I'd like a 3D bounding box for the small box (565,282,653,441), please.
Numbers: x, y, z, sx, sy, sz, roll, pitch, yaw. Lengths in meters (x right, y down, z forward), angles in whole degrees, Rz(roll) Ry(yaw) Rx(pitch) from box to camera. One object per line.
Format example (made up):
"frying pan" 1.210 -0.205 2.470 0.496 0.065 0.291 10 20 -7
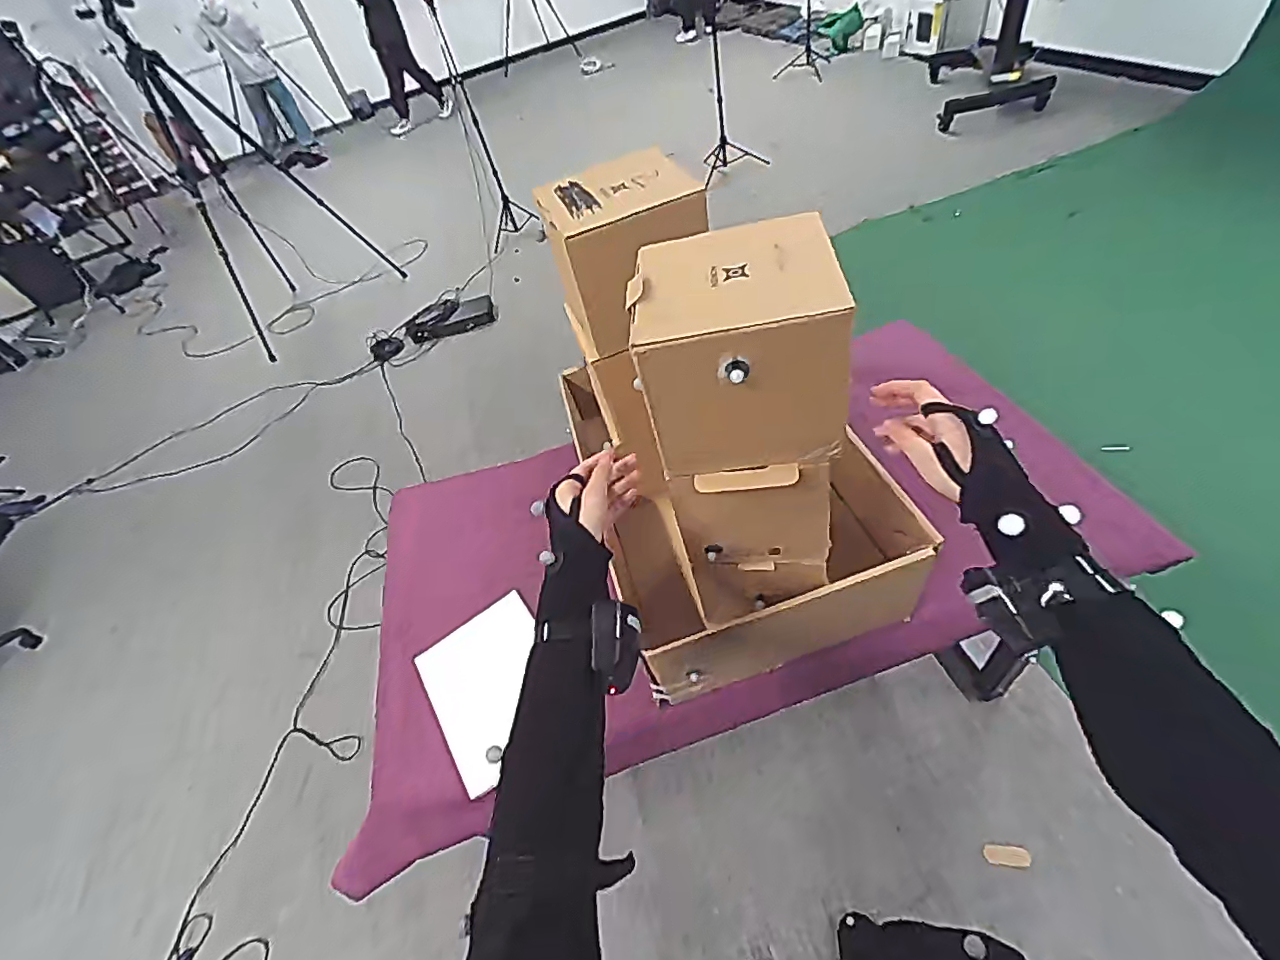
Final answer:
"small box" 0.005 -0.188 0.838 0.179 0.176 0.168 -21 49 -3

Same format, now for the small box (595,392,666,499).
"small box" 0.032 -0.086 0.961 0.168 0.176 0.179 -19 49 -1

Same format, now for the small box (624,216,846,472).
"small box" 0.094 -0.123 0.526 0.179 0.176 0.168 -6 48 12

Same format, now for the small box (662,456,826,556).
"small box" 0.129 -0.020 0.647 0.168 0.176 0.179 -5 47 14
